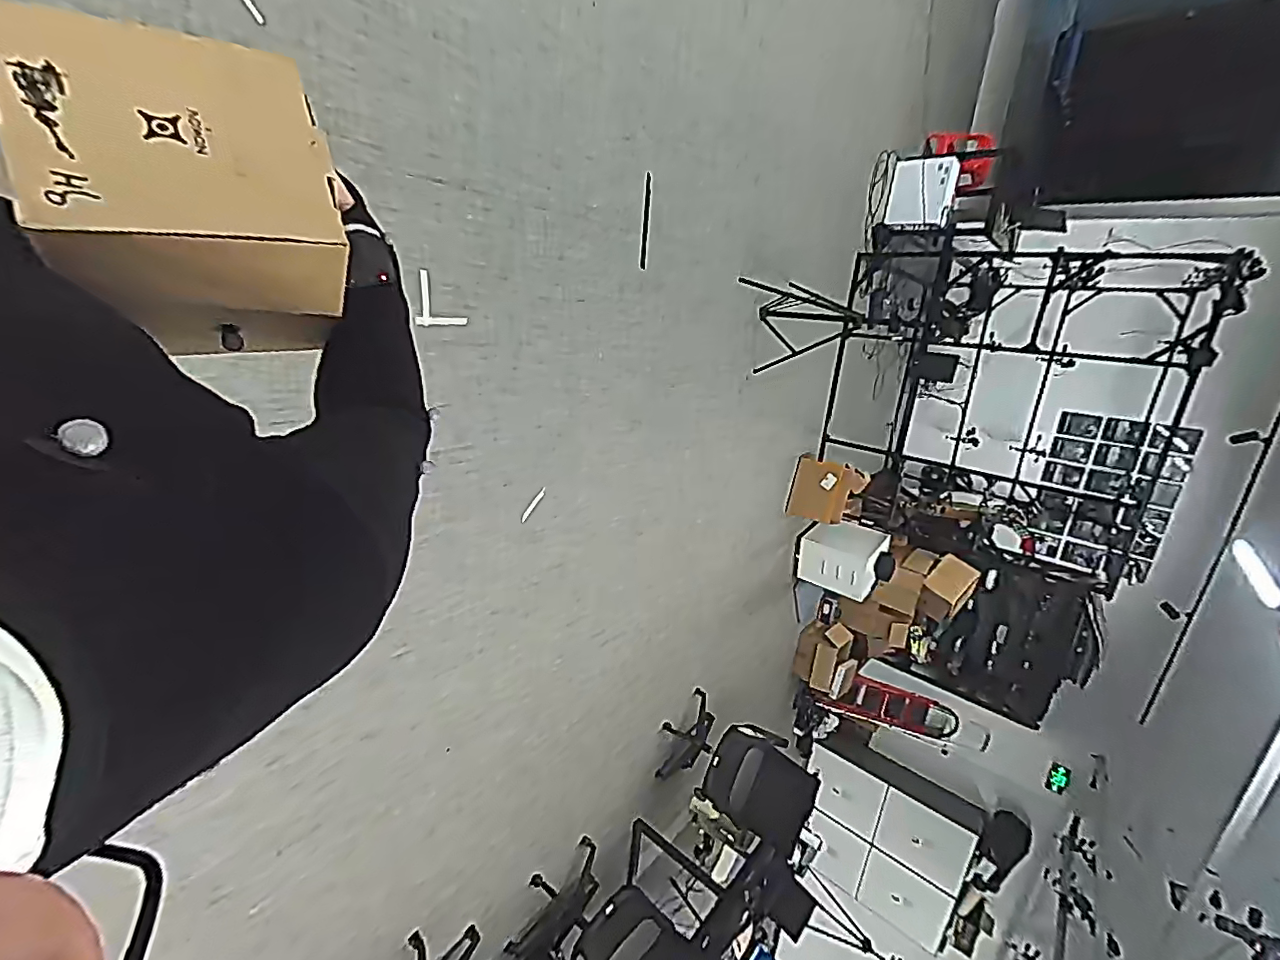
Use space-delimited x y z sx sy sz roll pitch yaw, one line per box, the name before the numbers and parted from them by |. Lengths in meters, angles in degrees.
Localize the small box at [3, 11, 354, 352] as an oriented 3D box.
small box | -0.362 -0.221 0.453 0.179 0.176 0.168 -14 81 -35
